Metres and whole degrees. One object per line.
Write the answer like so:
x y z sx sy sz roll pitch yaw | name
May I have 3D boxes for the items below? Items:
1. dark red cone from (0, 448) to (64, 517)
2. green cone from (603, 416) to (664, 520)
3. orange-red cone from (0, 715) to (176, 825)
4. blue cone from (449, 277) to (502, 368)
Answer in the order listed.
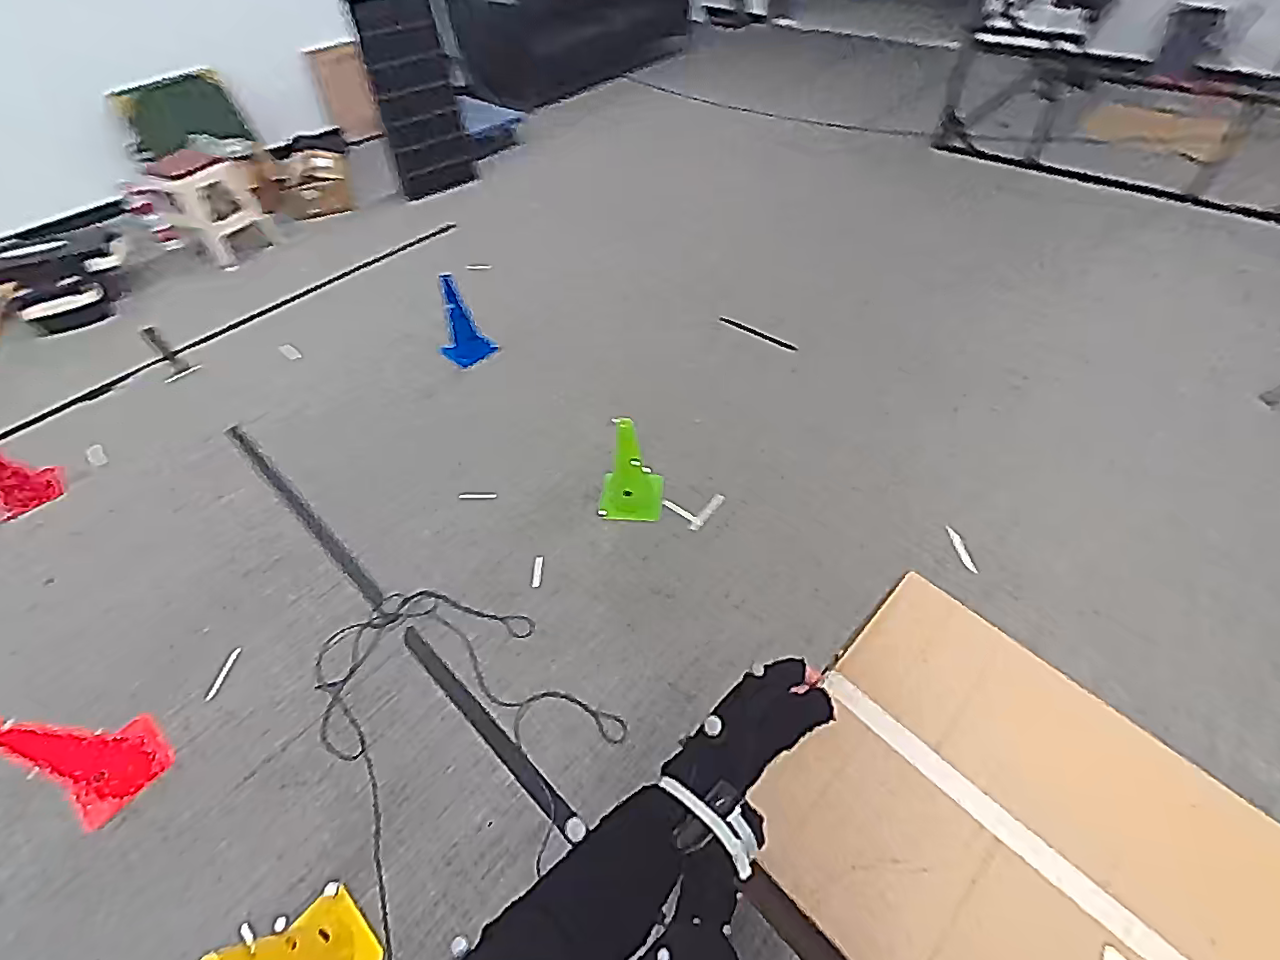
-2.233 -0.072 1.848 0.201 0.394 0.202 -35 57 -25 | dark red cone
-0.026 -0.055 1.725 0.200 0.368 0.202 2 49 4 | green cone
-1.317 0.626 1.243 0.199 0.360 0.198 32 60 25 | orange-red cone
-0.753 -0.688 2.318 0.192 0.380 0.193 -38 58 -26 | blue cone
